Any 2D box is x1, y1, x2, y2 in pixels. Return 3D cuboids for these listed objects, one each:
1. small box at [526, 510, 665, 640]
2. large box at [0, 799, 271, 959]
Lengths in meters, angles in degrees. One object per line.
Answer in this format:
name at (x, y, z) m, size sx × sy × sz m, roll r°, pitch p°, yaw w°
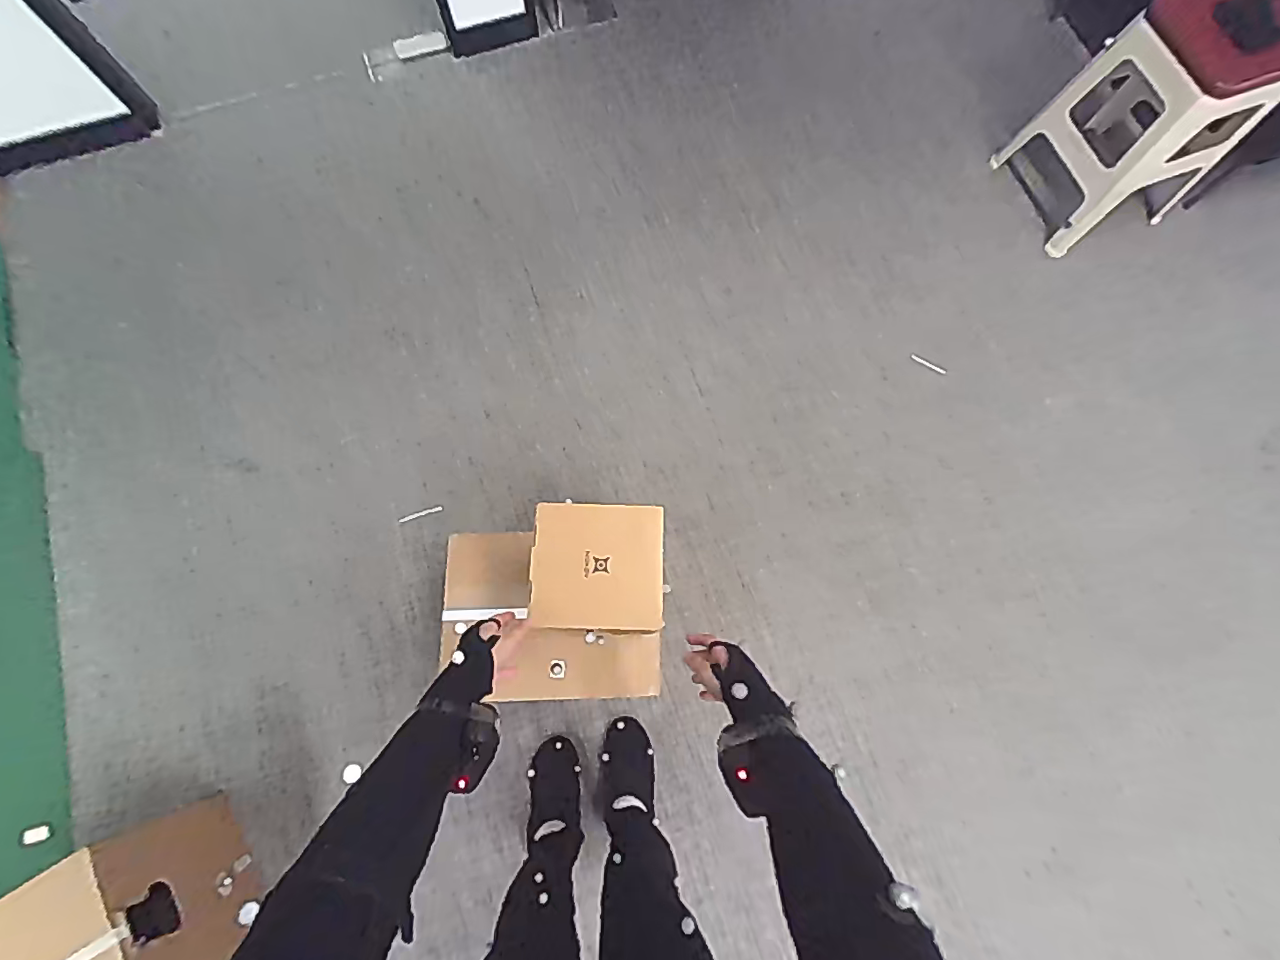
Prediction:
small box at (-0.056, 0.144, 0.784) m, size 0.179 × 0.176 × 0.168 m, roll 1°, pitch 73°, yaw 0°
large box at (-1.007, 0.883, 0.985) m, size 0.408 × 0.320 × 0.320 m, roll -32°, pitch 76°, yaw -8°
